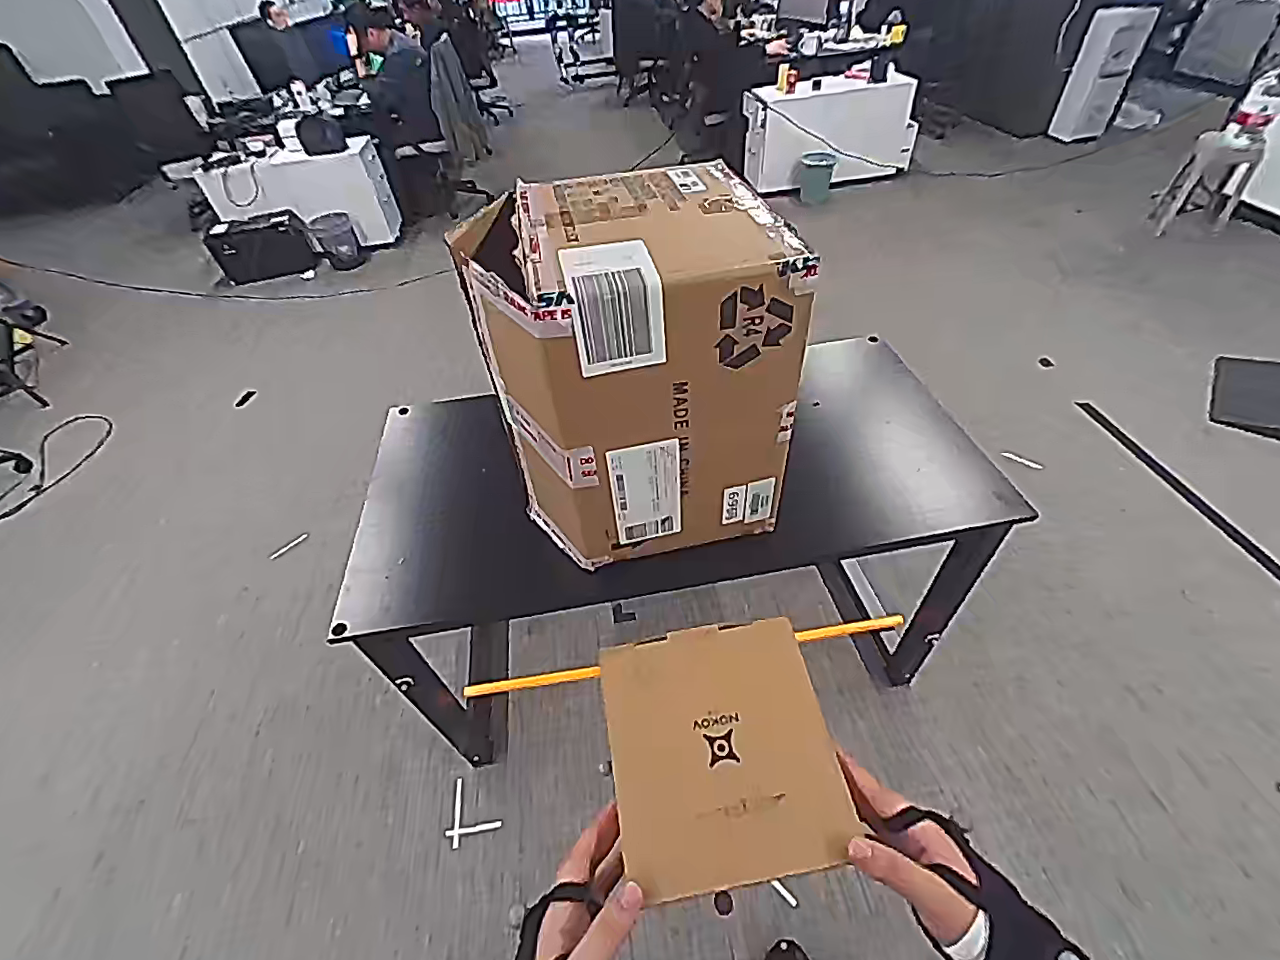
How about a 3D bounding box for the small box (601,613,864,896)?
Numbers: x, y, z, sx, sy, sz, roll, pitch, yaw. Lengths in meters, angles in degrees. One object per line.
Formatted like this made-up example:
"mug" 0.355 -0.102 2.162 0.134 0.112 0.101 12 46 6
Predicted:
"small box" 0.061 0.241 0.472 0.168 0.176 0.179 -9 54 -4
